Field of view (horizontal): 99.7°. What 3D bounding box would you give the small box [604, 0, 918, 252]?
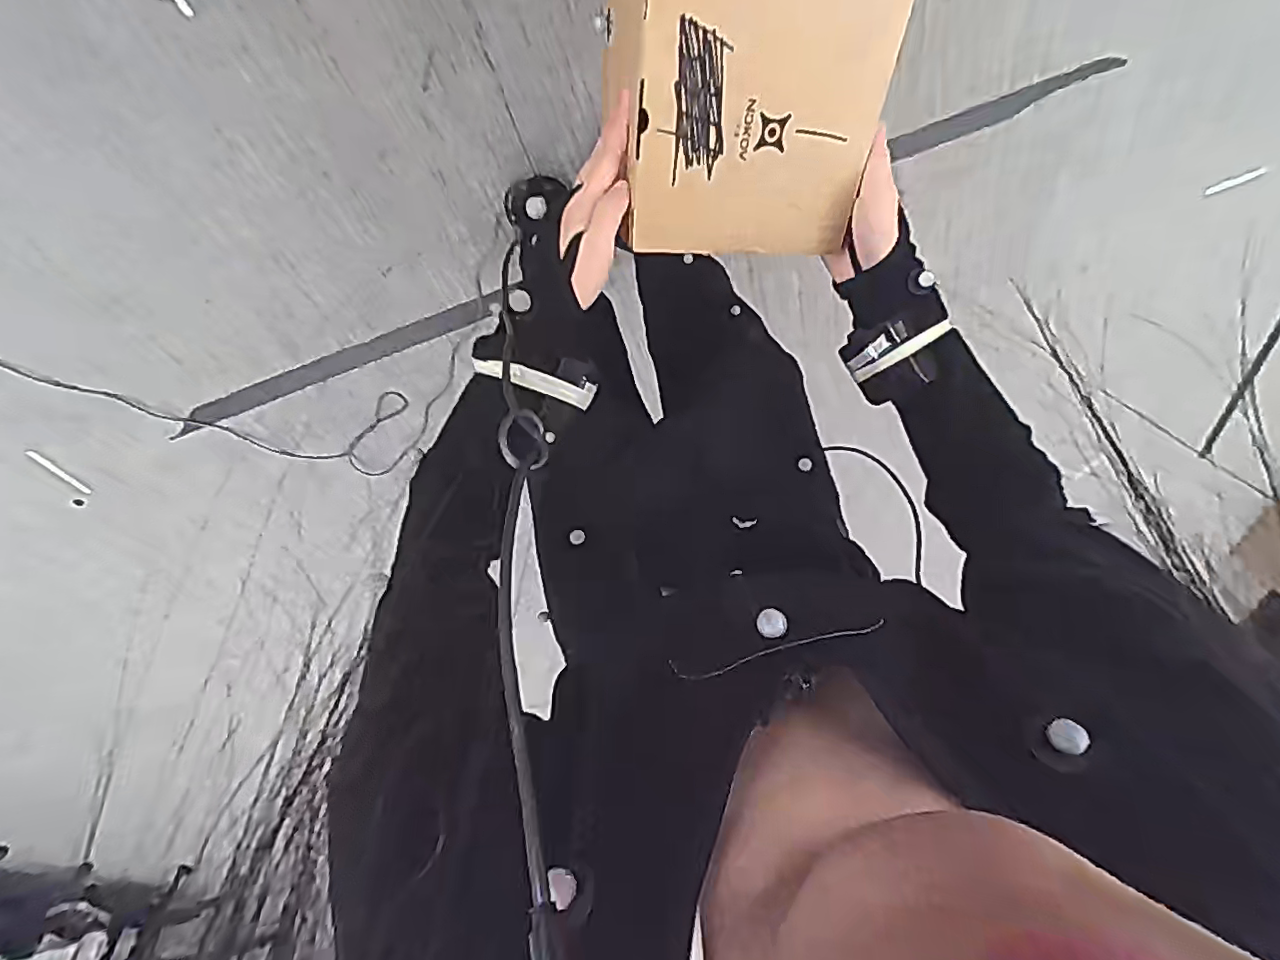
[{"bbox_3d":[0.067,-0.289,0.421,0.179,0.176,0.168,-4,130,-11],"label":"small box"}]
